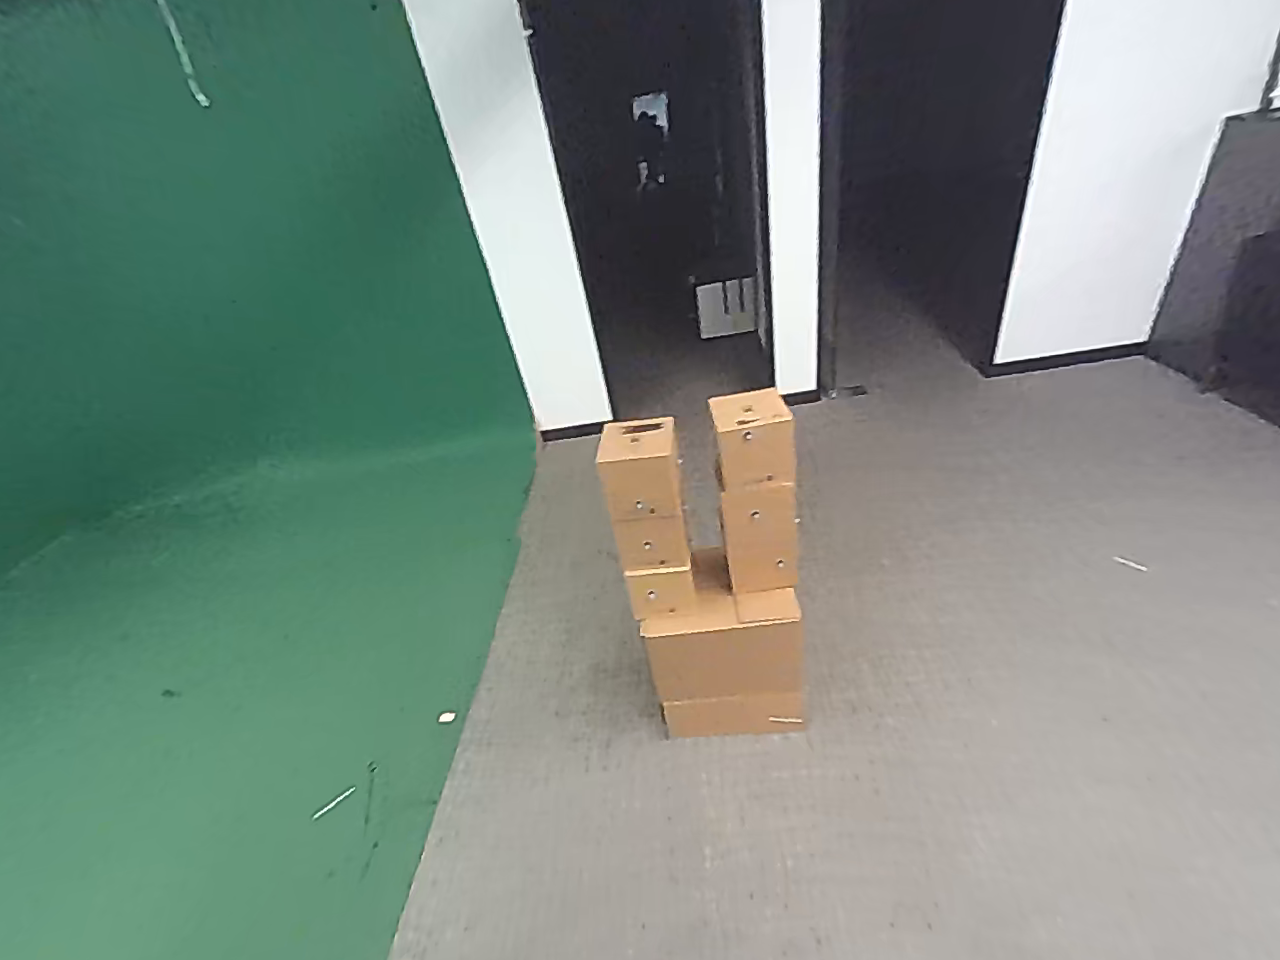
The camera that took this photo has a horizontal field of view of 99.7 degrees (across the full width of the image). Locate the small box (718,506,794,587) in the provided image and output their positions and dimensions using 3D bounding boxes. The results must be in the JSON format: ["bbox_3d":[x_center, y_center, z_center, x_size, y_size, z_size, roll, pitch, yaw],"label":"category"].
[{"bbox_3d":[0.314,0.169,1.463,0.179,0.176,0.168,-9,33,6],"label":"small box"}]

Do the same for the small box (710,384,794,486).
[{"bbox_3d":[0.265,-0.107,1.291,0.168,0.176,0.179,-10,33,5],"label":"small box"}]

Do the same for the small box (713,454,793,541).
[{"bbox_3d":[0.287,0.035,1.372,0.179,0.176,0.168,-9,33,7],"label":"small box"}]

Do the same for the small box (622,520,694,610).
[{"bbox_3d":[0.052,0.233,1.445,0.168,0.176,0.179,-6,34,7],"label":"small box"}]
